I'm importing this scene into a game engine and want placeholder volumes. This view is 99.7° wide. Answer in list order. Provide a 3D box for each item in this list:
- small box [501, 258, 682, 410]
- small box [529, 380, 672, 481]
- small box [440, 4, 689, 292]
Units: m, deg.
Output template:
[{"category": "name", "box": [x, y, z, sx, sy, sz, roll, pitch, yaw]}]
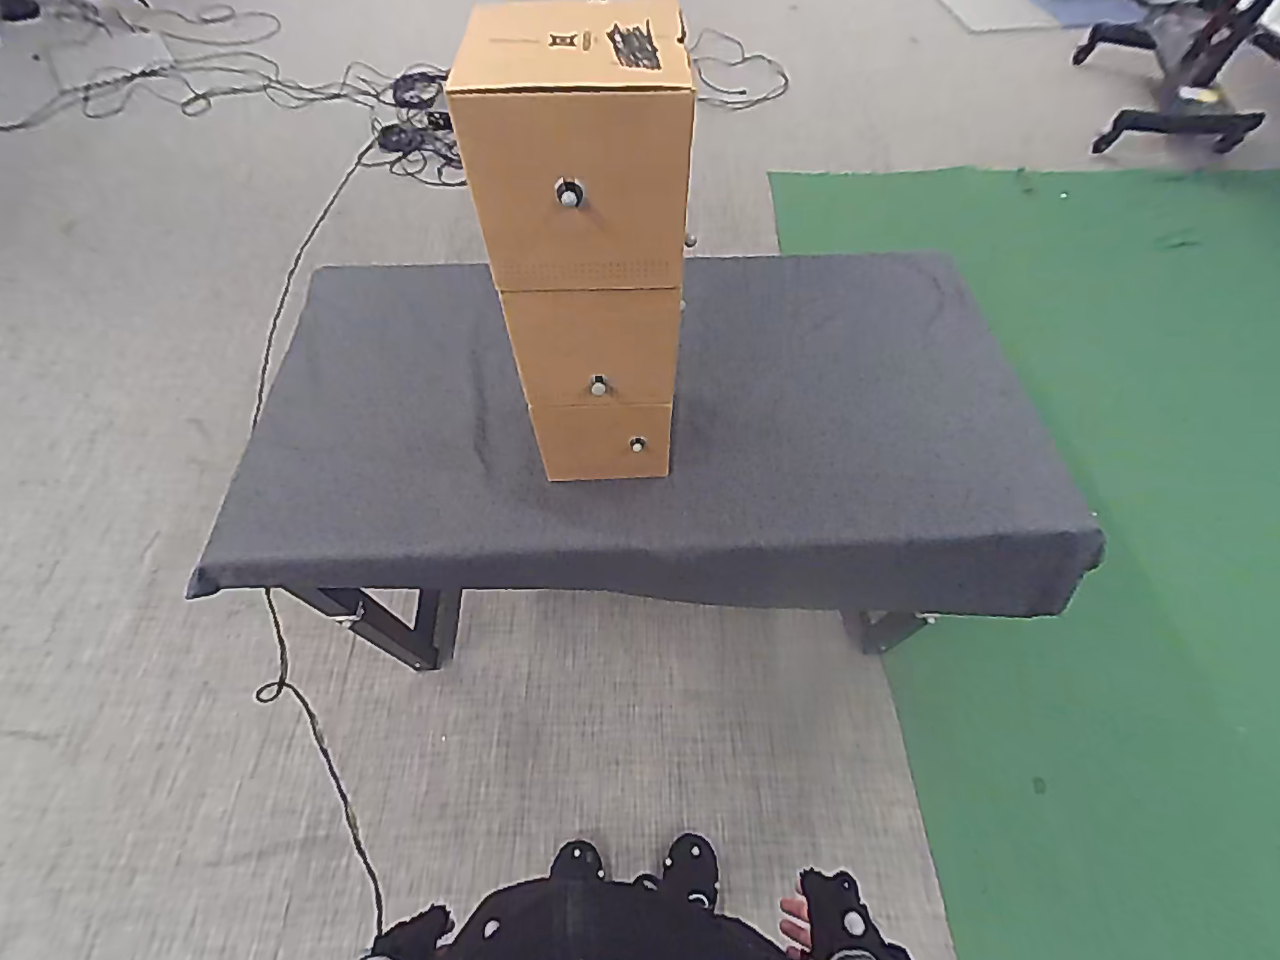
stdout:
[{"category": "small box", "box": [-0.052, -0.199, 0.626, 0.179, 0.176, 0.168, -5, 59, -2]}, {"category": "small box", "box": [-0.050, -0.113, 0.762, 0.179, 0.176, 0.168, -4, 57, 0]}, {"category": "small box", "box": [-0.054, -0.289, 0.485, 0.179, 0.176, 0.168, -2, 57, 0]}]
